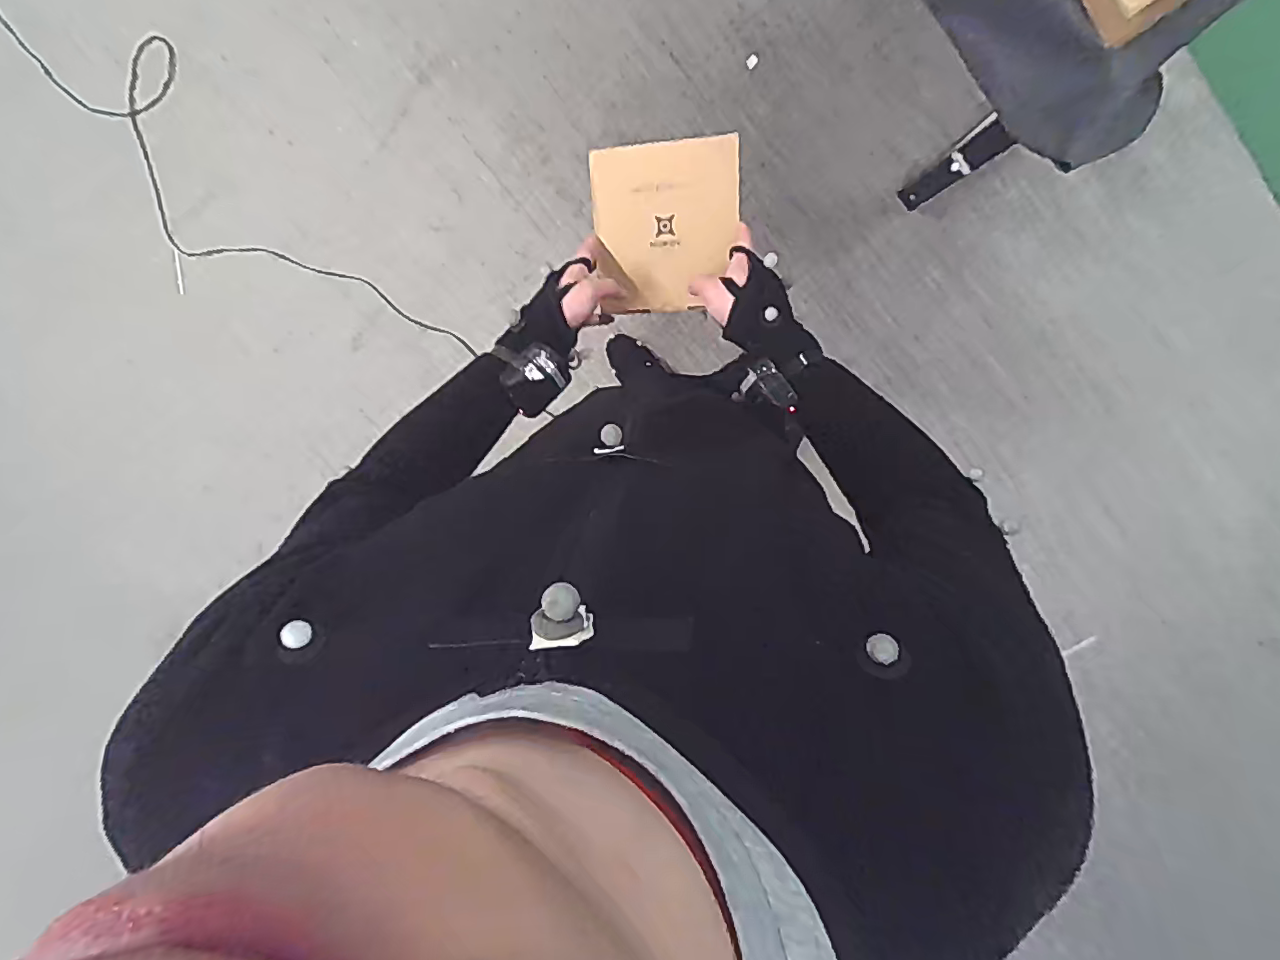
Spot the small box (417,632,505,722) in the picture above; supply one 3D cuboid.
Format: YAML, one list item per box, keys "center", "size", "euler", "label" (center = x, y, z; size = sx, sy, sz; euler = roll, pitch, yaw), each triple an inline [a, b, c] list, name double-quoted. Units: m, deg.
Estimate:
- center: [-0.564, 0.625, 1.730]
  size: [0.179, 0.176, 0.168]
  euler: [-39, 99, 14]
  label: "small box"

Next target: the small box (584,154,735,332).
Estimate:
- center: [0.035, -0.285, 0.679]
  size: [0.168, 0.176, 0.179]
  euler: [-1, 108, 9]
  label: "small box"
